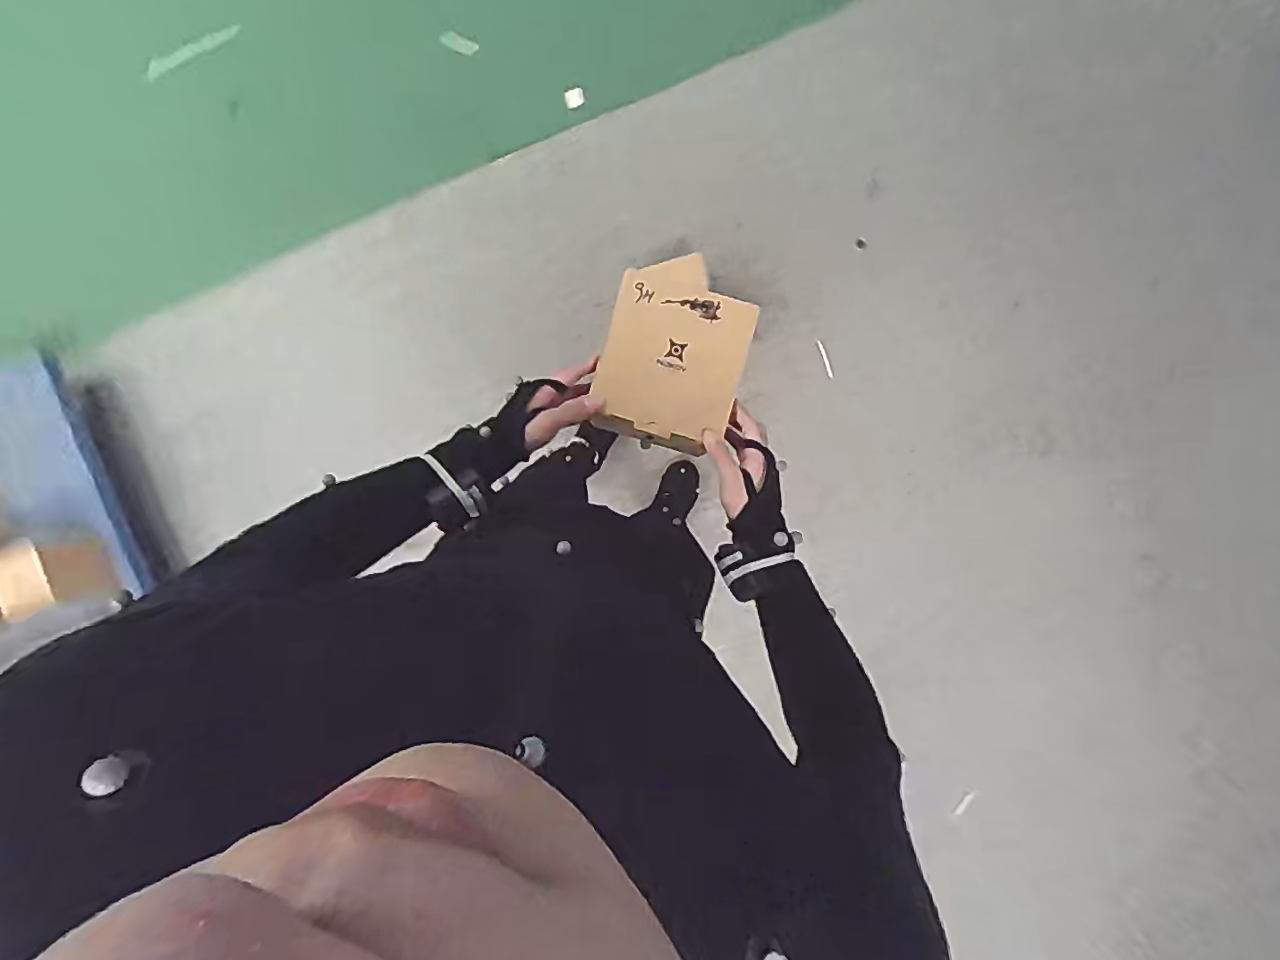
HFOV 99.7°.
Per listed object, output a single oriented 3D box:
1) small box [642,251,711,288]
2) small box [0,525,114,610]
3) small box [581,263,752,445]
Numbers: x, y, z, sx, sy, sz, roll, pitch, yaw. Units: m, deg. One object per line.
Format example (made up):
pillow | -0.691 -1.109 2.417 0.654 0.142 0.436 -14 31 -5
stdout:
small box | 0.105 -0.512 1.511 0.179 0.176 0.168 -14 95 5
small box | -1.652 0.241 1.520 0.168 0.176 0.179 -16 94 5
small box | 0.030 -0.149 0.706 0.168 0.176 0.179 15 90 -2
